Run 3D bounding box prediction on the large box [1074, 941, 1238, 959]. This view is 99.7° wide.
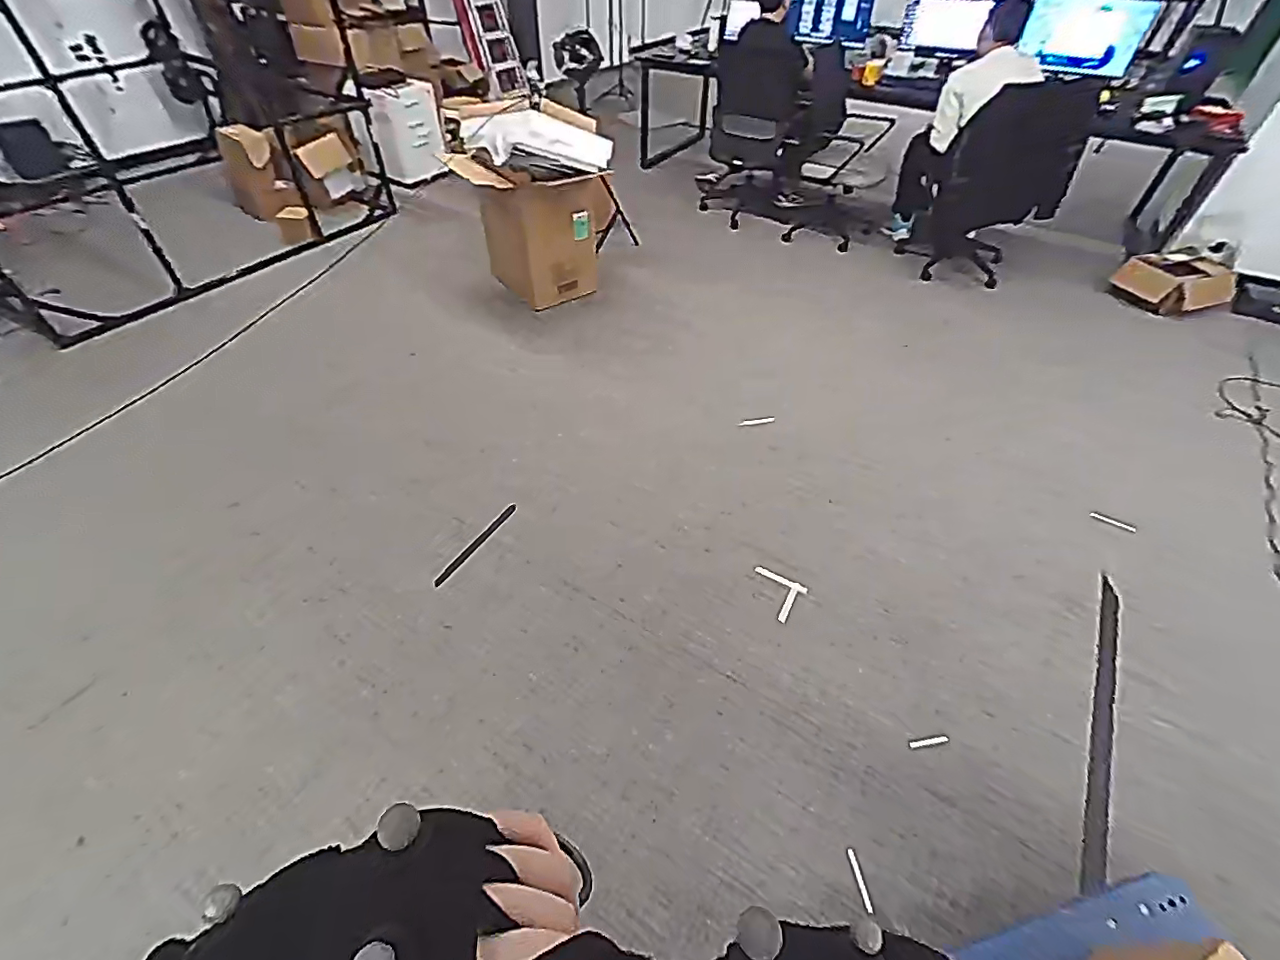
[{"bbox_3d":[0.794,0.949,0.732,0.320,0.320,0.408,-20,51,-18],"label":"large box"}]
